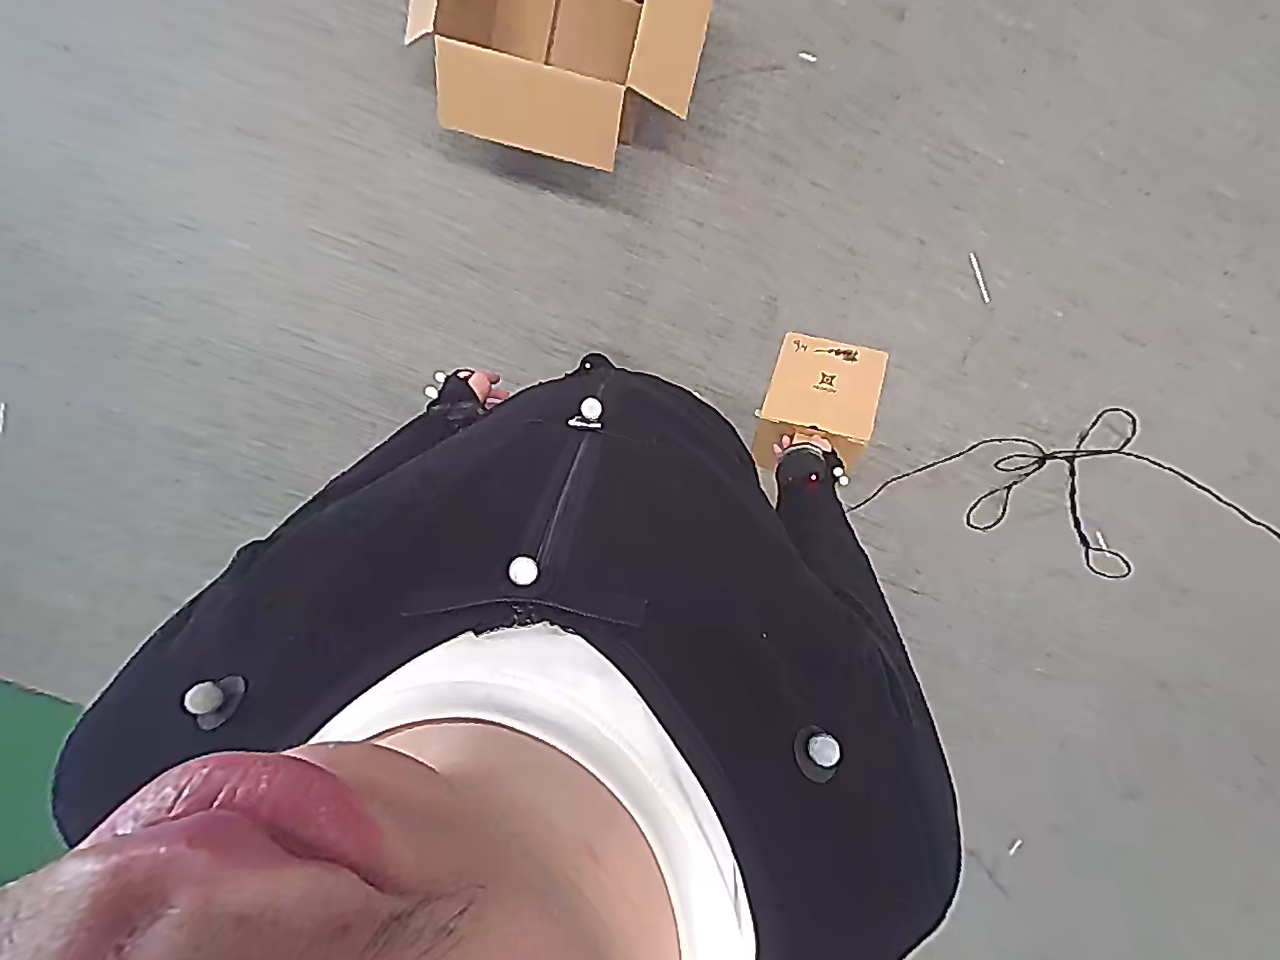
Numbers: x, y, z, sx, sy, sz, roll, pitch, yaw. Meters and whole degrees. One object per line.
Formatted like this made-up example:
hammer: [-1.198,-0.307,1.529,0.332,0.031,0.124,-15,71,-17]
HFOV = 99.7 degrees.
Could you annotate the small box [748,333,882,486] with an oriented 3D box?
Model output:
small box: [0.284,-0.112,0.906,0.168,0.176,0.179,16,67,14]
